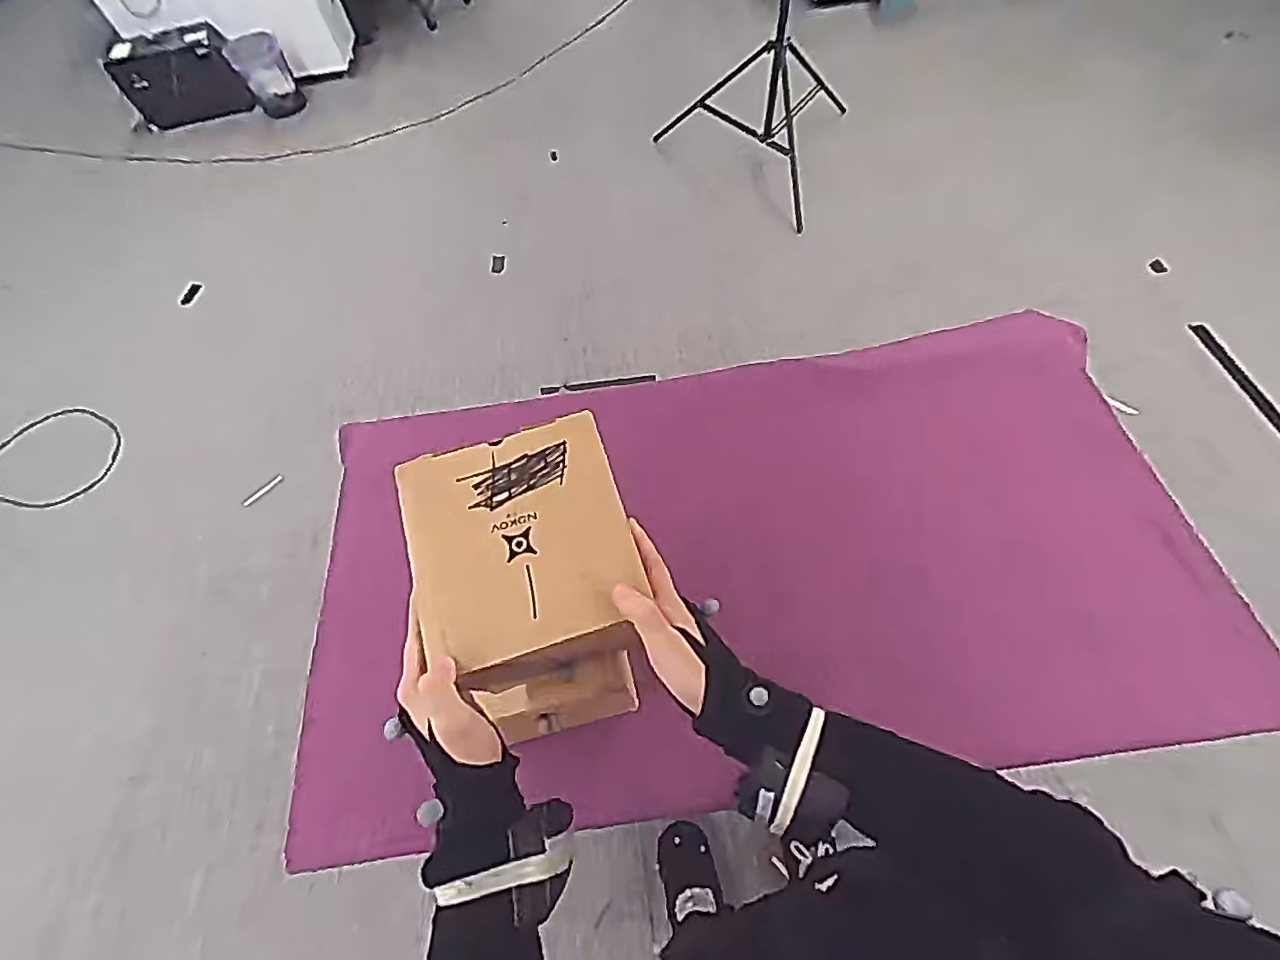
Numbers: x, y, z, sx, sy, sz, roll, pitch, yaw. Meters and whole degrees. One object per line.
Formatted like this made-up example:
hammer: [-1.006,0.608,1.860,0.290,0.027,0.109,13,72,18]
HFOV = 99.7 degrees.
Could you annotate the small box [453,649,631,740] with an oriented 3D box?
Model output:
small box: [-0.111,0.200,0.647,0.179,0.176,0.168,-14,60,-3]

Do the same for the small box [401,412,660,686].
small box: [-0.088,0.071,0.482,0.168,0.176,0.179,-17,69,-6]
